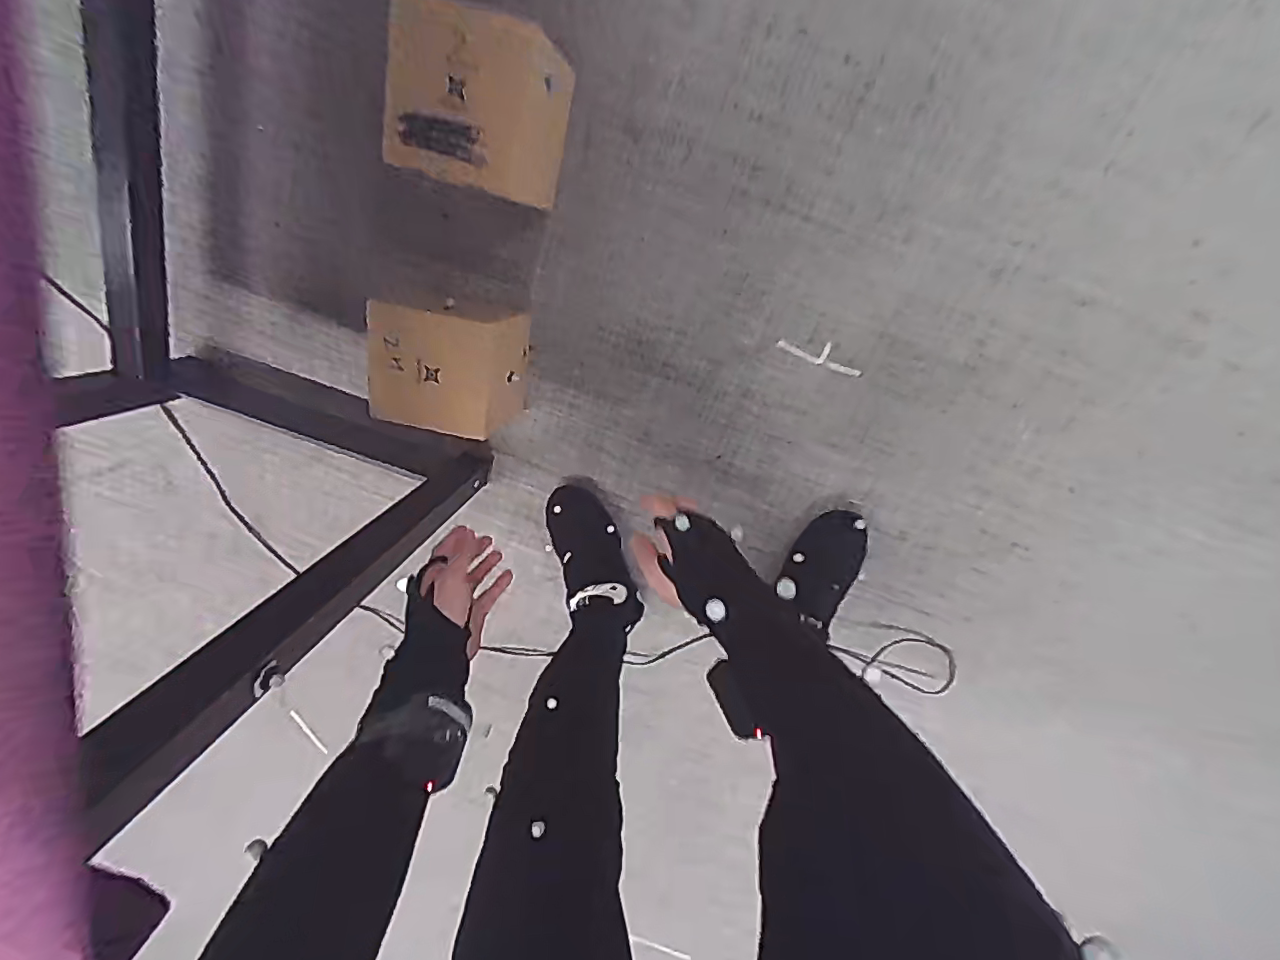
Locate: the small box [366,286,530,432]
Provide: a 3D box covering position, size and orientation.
[{"bbox_3d":[-0.275,-0.188,0.802,0.179,0.176,0.168,13,113,3],"label":"small box"}]
